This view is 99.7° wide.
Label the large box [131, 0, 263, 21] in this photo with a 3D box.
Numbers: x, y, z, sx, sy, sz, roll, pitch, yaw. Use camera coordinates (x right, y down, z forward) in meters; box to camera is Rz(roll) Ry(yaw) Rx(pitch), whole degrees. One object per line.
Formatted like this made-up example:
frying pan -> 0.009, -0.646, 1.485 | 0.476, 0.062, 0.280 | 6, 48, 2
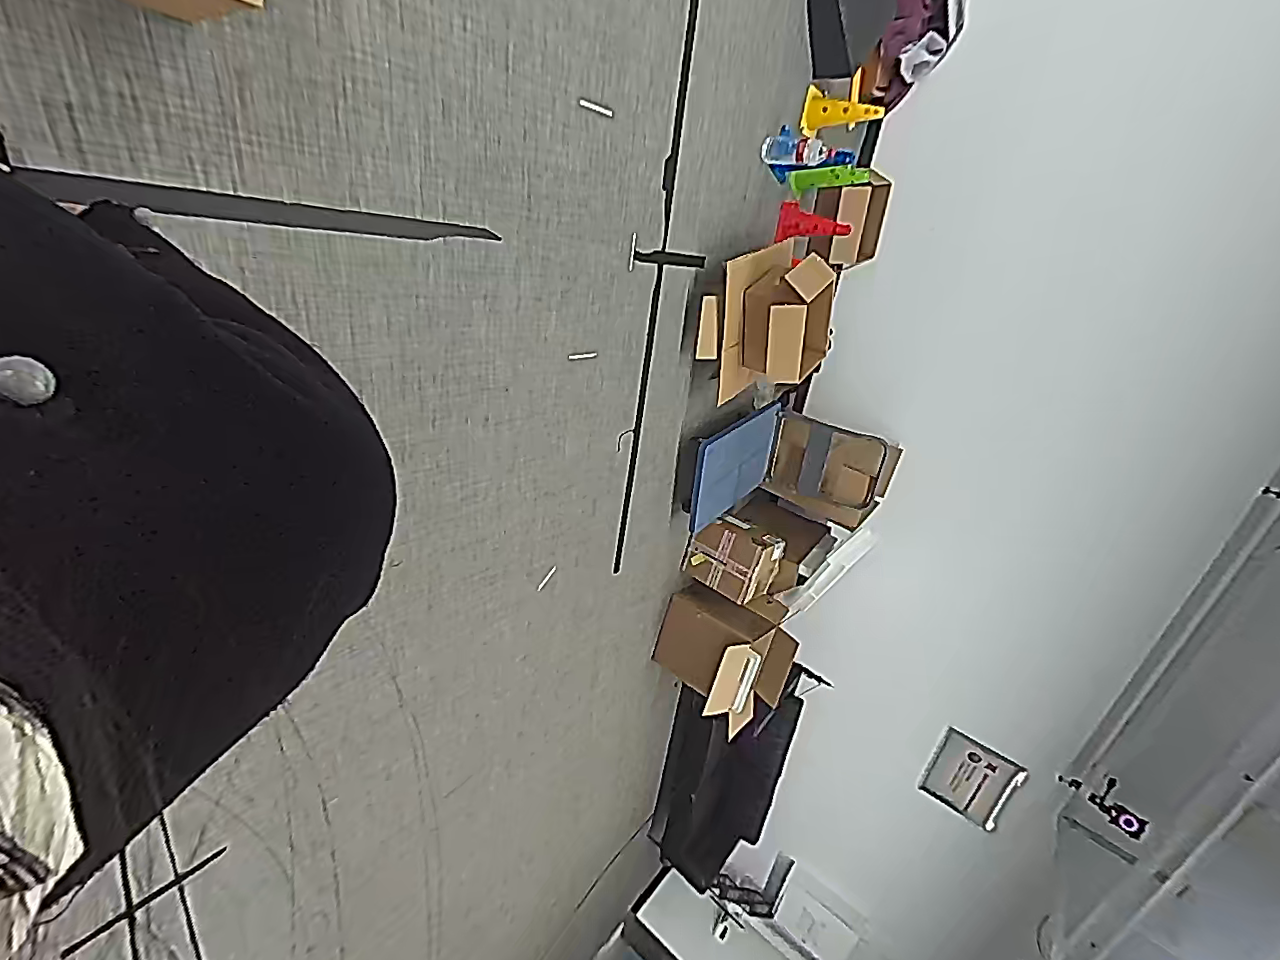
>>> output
large box -> -0.796, -0.879, 0.704 | 0.408, 0.320, 0.320 | -20, 127, -50
